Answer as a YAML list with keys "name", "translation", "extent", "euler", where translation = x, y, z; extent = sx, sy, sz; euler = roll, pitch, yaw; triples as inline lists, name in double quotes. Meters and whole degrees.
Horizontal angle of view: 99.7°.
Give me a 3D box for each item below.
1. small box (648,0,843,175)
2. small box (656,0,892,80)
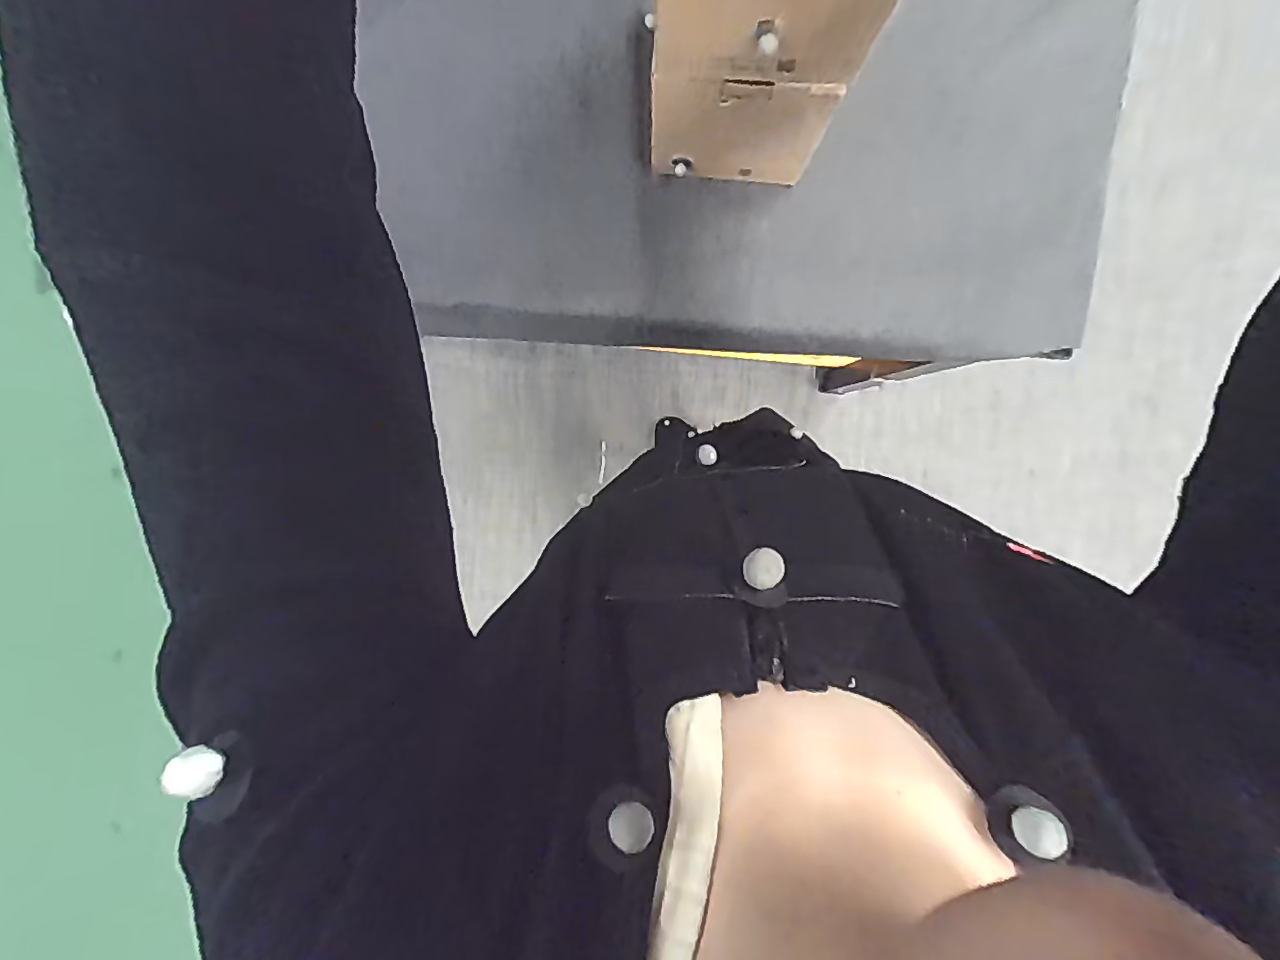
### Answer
- name: "small box"
  translation: [0.099, -0.424, 0.522]
  extent: [0.168, 0.176, 0.179]
  euler: [6, 94, 1]
- name: "small box"
  translation: [0.096, -0.414, 0.357]
  extent: [0.168, 0.176, 0.179]
  euler: [3, 95, 2]
